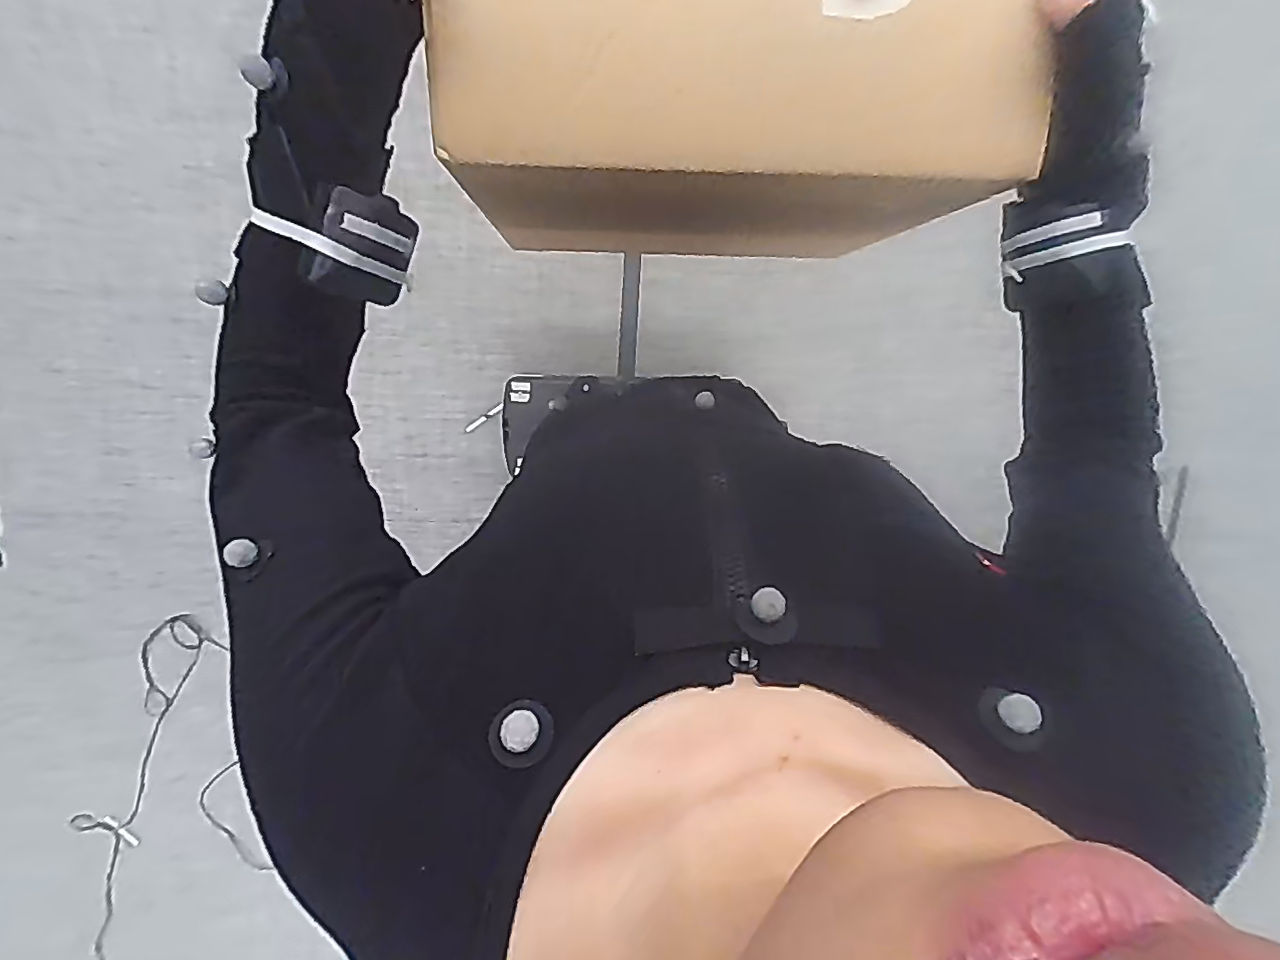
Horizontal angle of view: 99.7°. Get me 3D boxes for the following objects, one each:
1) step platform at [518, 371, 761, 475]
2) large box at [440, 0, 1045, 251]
[{"bbox_3d":[-0.002,-0.166,1.554,0.684,0.204,0.286,-1,101,-4],"label":"step platform"},{"bbox_3d":[0.058,-0.397,0.478,0.408,0.320,0.320,-2,104,-5],"label":"large box"}]
